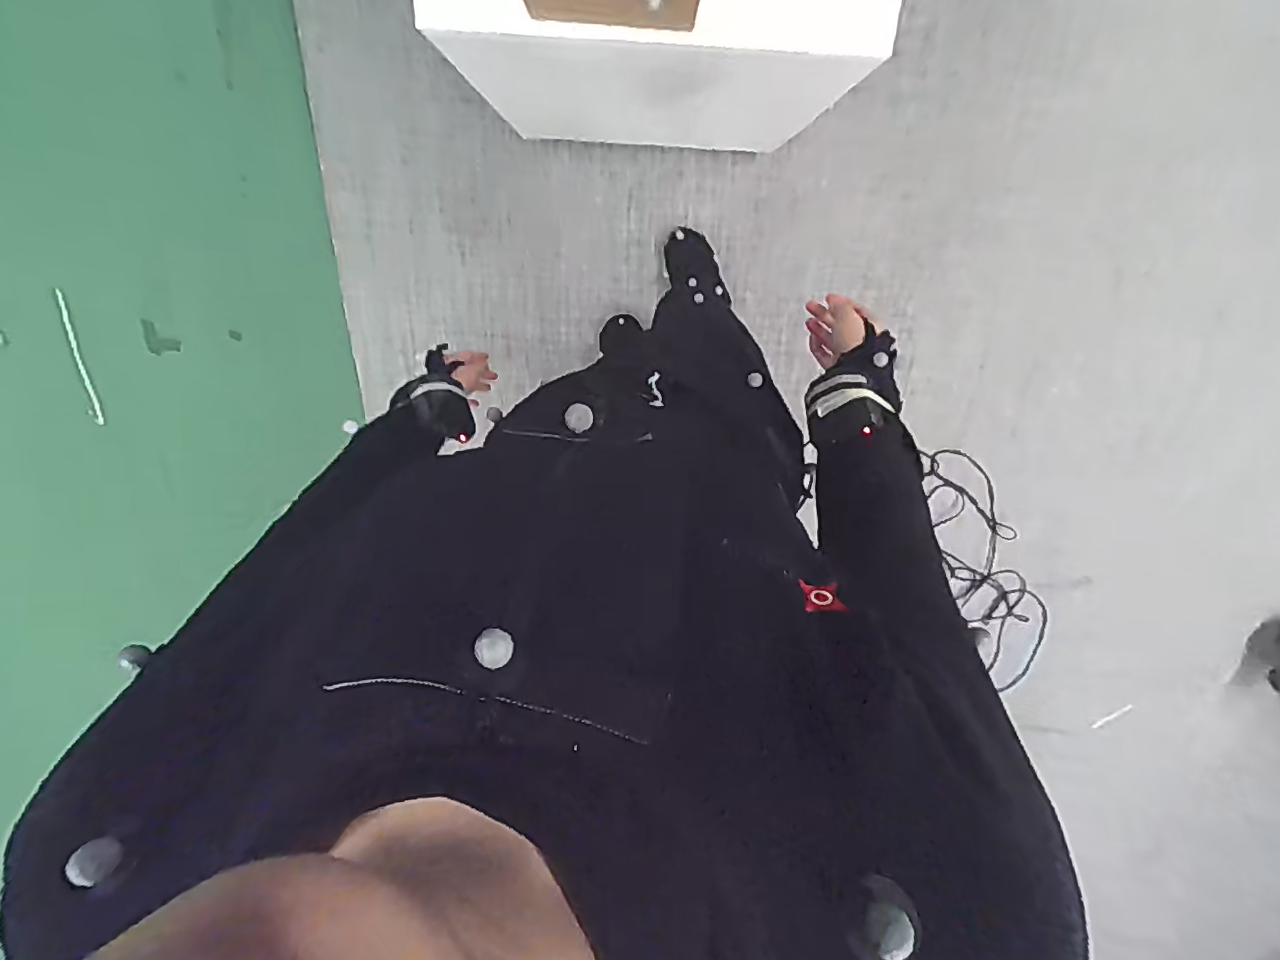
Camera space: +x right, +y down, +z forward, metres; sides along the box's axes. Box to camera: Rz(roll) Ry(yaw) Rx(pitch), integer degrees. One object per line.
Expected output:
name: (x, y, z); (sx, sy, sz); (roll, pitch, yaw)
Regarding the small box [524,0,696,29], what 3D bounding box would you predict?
small box: (-0.024, -0.520, 0.460); (0.179, 0.176, 0.168); (3, 110, -1)
